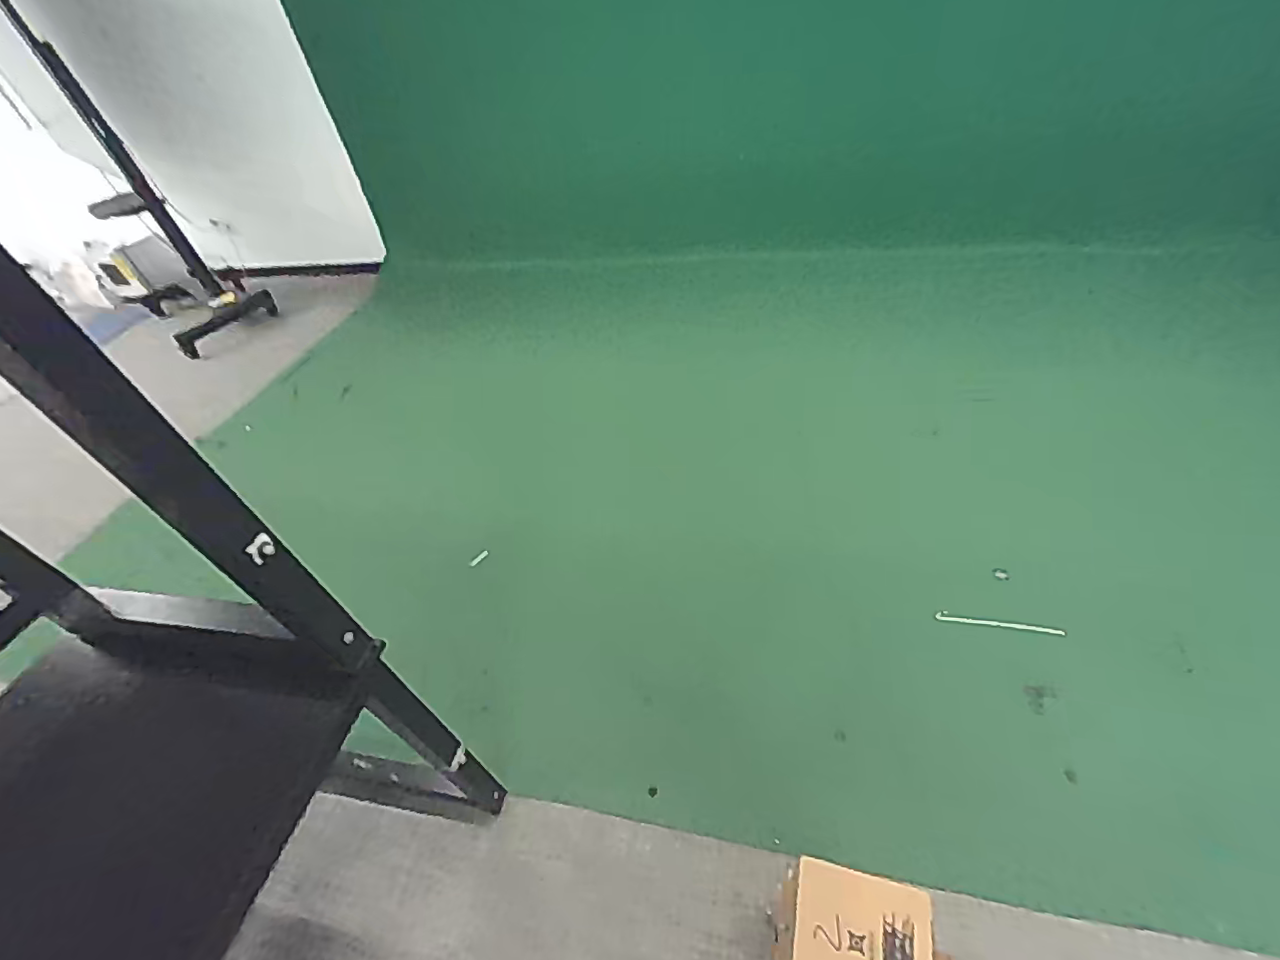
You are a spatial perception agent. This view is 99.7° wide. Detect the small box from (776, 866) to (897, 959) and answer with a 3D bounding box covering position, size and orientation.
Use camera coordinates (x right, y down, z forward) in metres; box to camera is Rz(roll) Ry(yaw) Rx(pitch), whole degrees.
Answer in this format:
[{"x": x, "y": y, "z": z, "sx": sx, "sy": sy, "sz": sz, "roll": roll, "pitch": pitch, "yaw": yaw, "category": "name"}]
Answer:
[{"x": 0.314, "y": 0.769, "z": 0.880, "sx": 0.168, "sy": 0.176, "sz": 0.179, "roll": 6, "pitch": 46, "yaw": 14, "category": "small box"}]
